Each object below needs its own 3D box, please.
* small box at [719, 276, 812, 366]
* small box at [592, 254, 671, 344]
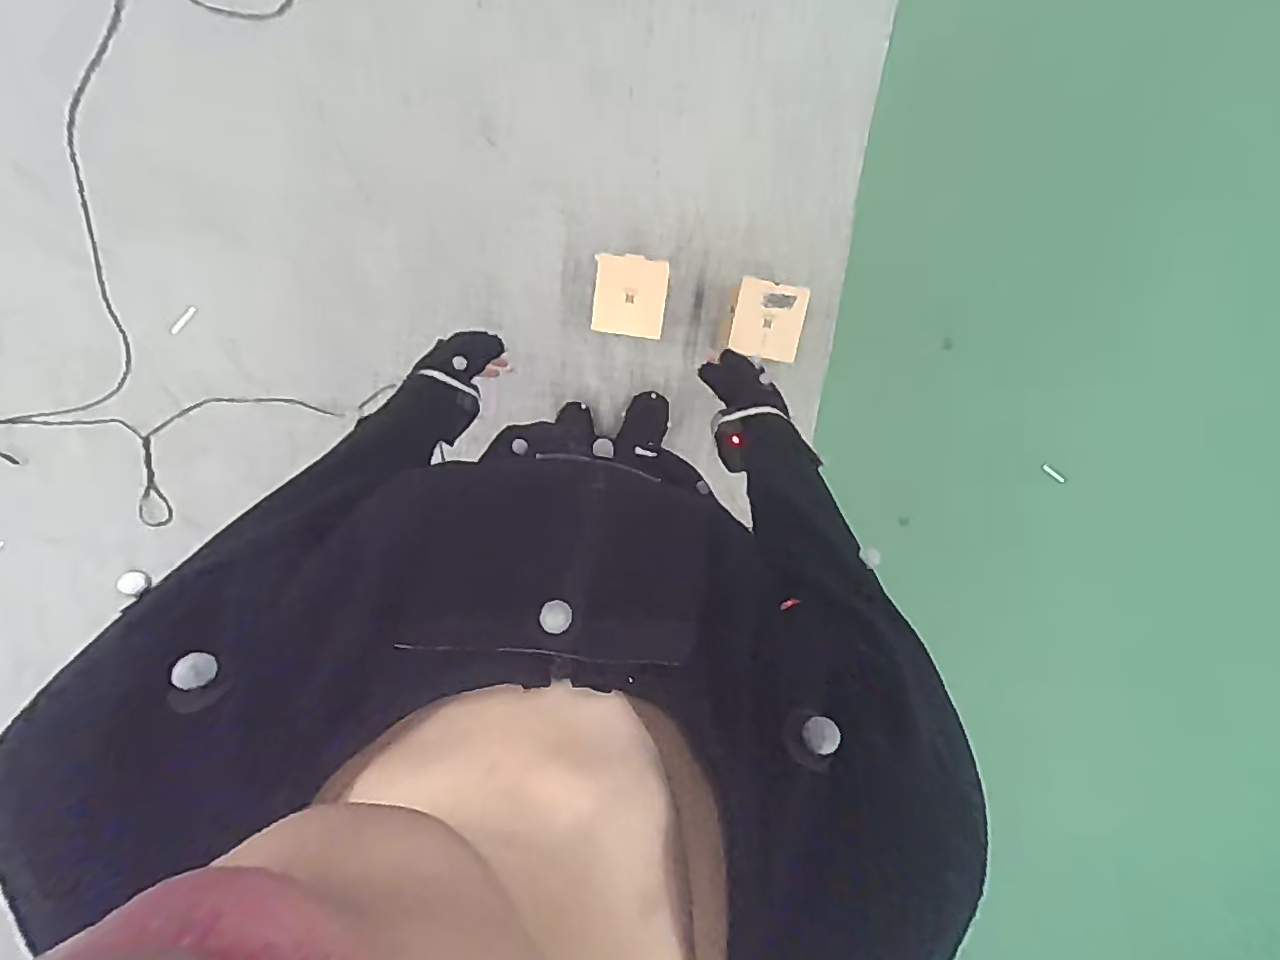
[{"bbox_3d":[0.300,-0.385,1.334,0.168,0.176,0.179,11,102,-4],"label":"small box"},{"bbox_3d":[-0.022,-0.431,1.316,0.168,0.176,0.179,6,100,-3],"label":"small box"}]
